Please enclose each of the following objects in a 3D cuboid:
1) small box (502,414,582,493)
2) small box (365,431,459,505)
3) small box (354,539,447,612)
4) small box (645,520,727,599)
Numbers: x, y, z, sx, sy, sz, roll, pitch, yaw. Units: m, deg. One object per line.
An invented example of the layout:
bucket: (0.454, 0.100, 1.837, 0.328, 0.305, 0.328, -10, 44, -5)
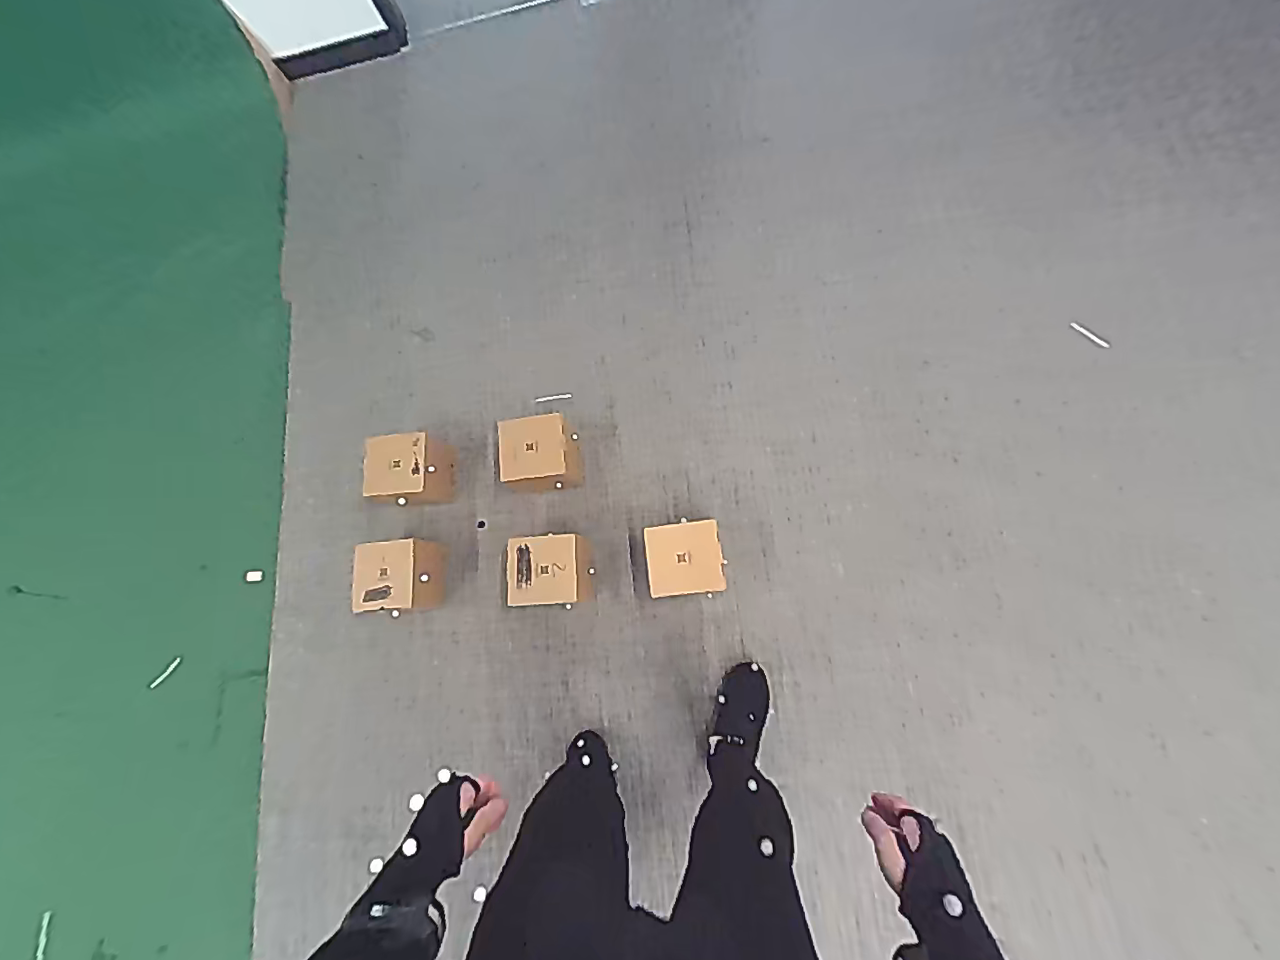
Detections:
small box: (-0.256, -0.065, 1.450, 0.179, 0.176, 0.168, -7, 76, 8)
small box: (-0.628, -0.027, 1.503, 0.179, 0.176, 0.168, -4, 77, 9)
small box: (-0.630, 0.257, 1.439, 0.168, 0.176, 0.179, -5, 76, 8)
small box: (0.118, 0.201, 1.330, 0.179, 0.176, 0.168, -8, 76, 7)
